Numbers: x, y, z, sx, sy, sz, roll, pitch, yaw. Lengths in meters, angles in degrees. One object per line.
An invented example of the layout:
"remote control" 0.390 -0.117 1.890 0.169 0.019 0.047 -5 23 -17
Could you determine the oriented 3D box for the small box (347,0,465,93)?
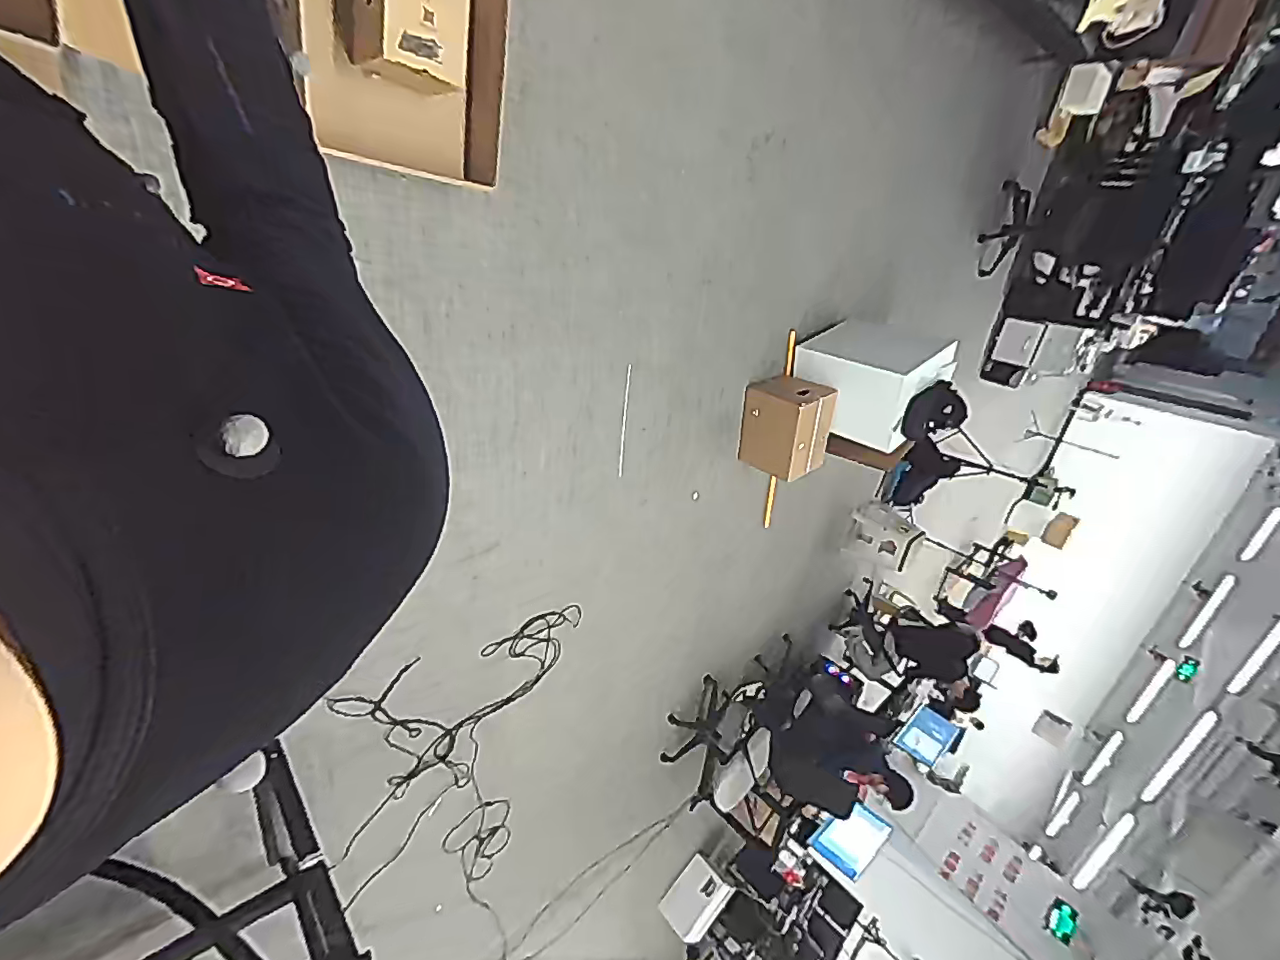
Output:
"small box" -0.471 -0.906 1.082 0.168 0.176 0.179 -9 117 -45
